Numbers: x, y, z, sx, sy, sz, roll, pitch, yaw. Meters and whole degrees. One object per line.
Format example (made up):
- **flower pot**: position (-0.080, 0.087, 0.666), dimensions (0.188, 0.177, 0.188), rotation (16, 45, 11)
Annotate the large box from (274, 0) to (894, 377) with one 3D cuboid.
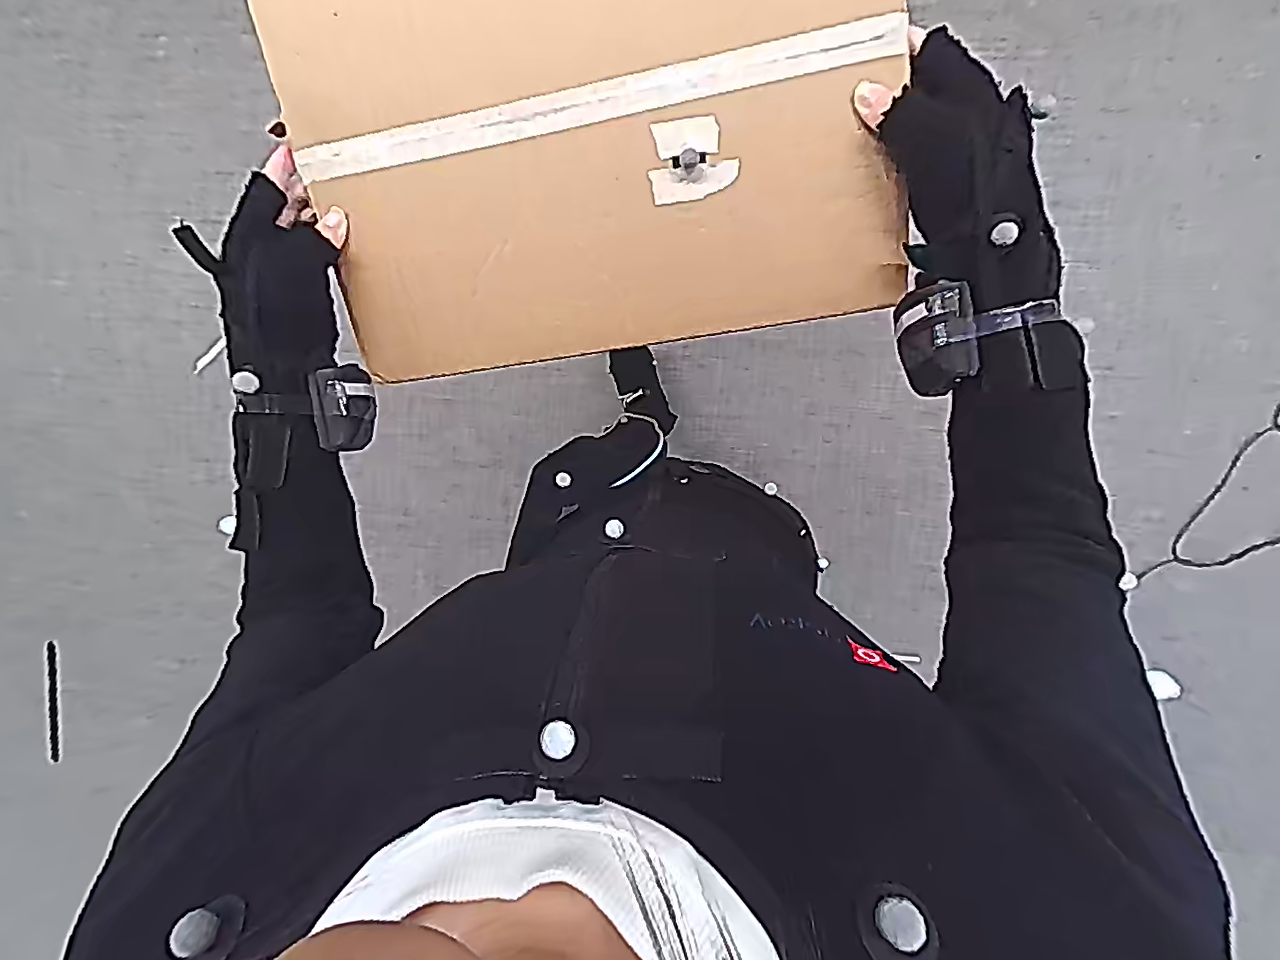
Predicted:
- **large box**: position (-0.025, -0.302, 0.511), dimensions (0.408, 0.320, 0.320), rotation (-7, 109, 8)
